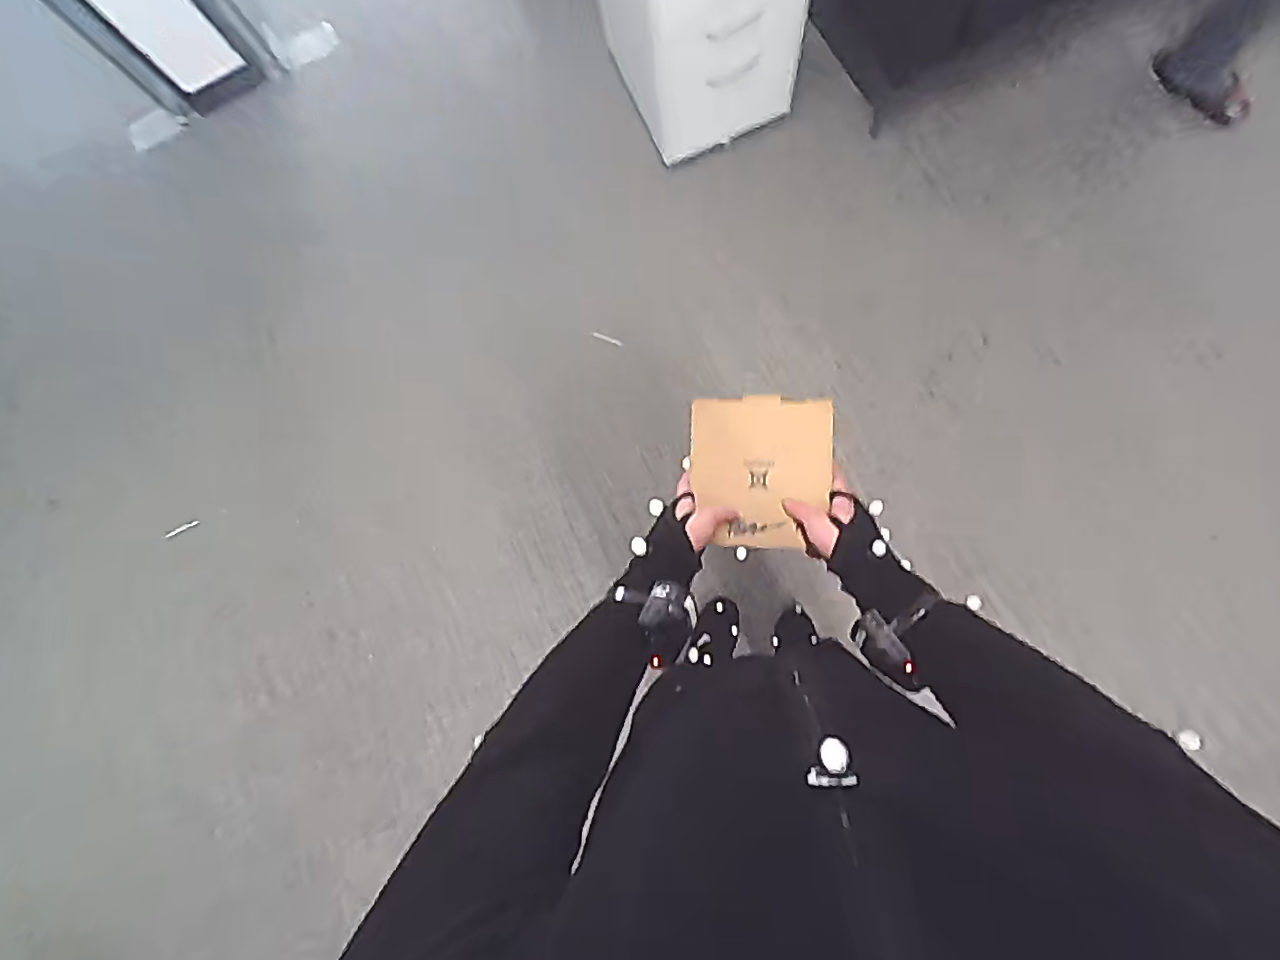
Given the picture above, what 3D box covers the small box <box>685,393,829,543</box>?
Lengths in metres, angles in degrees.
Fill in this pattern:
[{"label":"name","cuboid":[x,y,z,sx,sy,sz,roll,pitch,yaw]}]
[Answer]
[{"label":"small box","cuboid":[0.149,-0.008,0.717,0.168,0.176,0.179,2,84,9]}]
